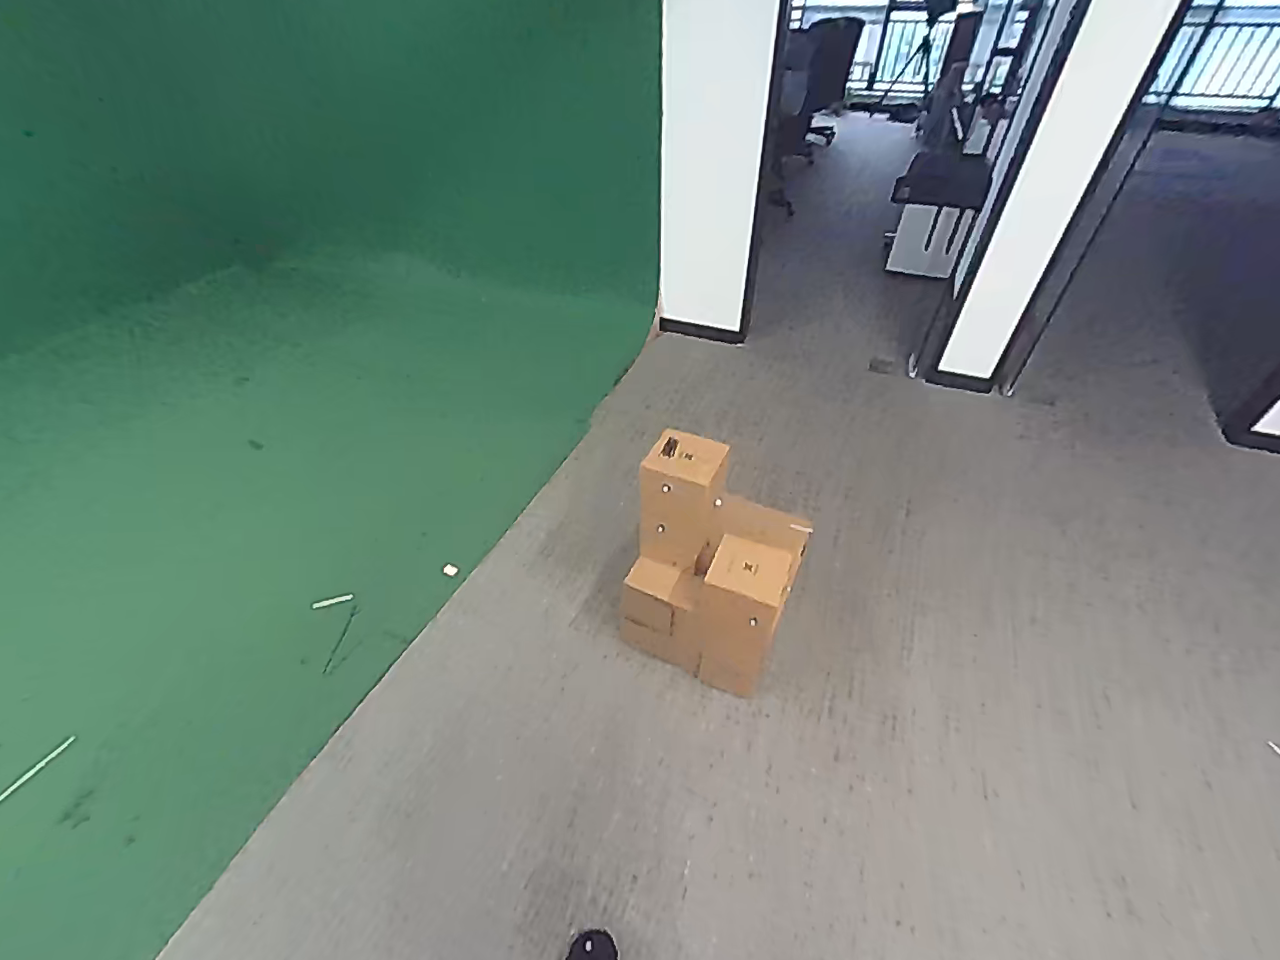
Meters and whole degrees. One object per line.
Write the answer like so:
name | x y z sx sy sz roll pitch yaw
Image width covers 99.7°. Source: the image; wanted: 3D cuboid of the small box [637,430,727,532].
small box | 0.103 0.004 1.362 0.179 0.176 0.168 18 45 19

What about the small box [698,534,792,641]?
small box | 0.252 0.266 1.319 0.179 0.176 0.168 17 45 18

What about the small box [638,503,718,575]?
small box | 0.102 0.124 1.476 0.168 0.176 0.179 17 44 20
